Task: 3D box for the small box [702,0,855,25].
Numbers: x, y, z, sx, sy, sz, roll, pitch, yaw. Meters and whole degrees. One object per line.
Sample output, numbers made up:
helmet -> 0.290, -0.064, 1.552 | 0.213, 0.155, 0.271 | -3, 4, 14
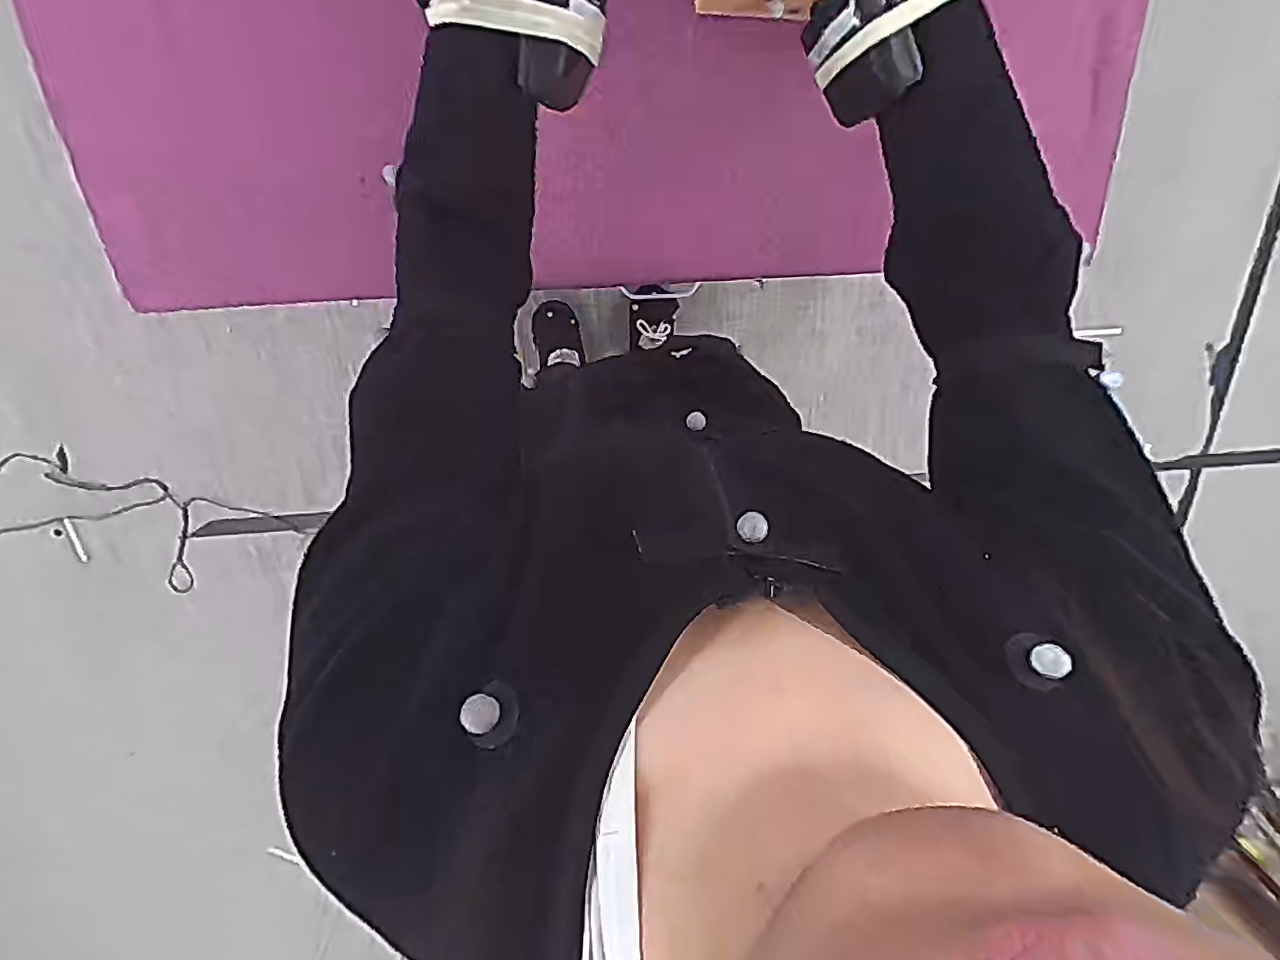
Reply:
small box -> 0.149, -0.562, 0.492 | 0.168, 0.176, 0.179 | 0, 112, -5
